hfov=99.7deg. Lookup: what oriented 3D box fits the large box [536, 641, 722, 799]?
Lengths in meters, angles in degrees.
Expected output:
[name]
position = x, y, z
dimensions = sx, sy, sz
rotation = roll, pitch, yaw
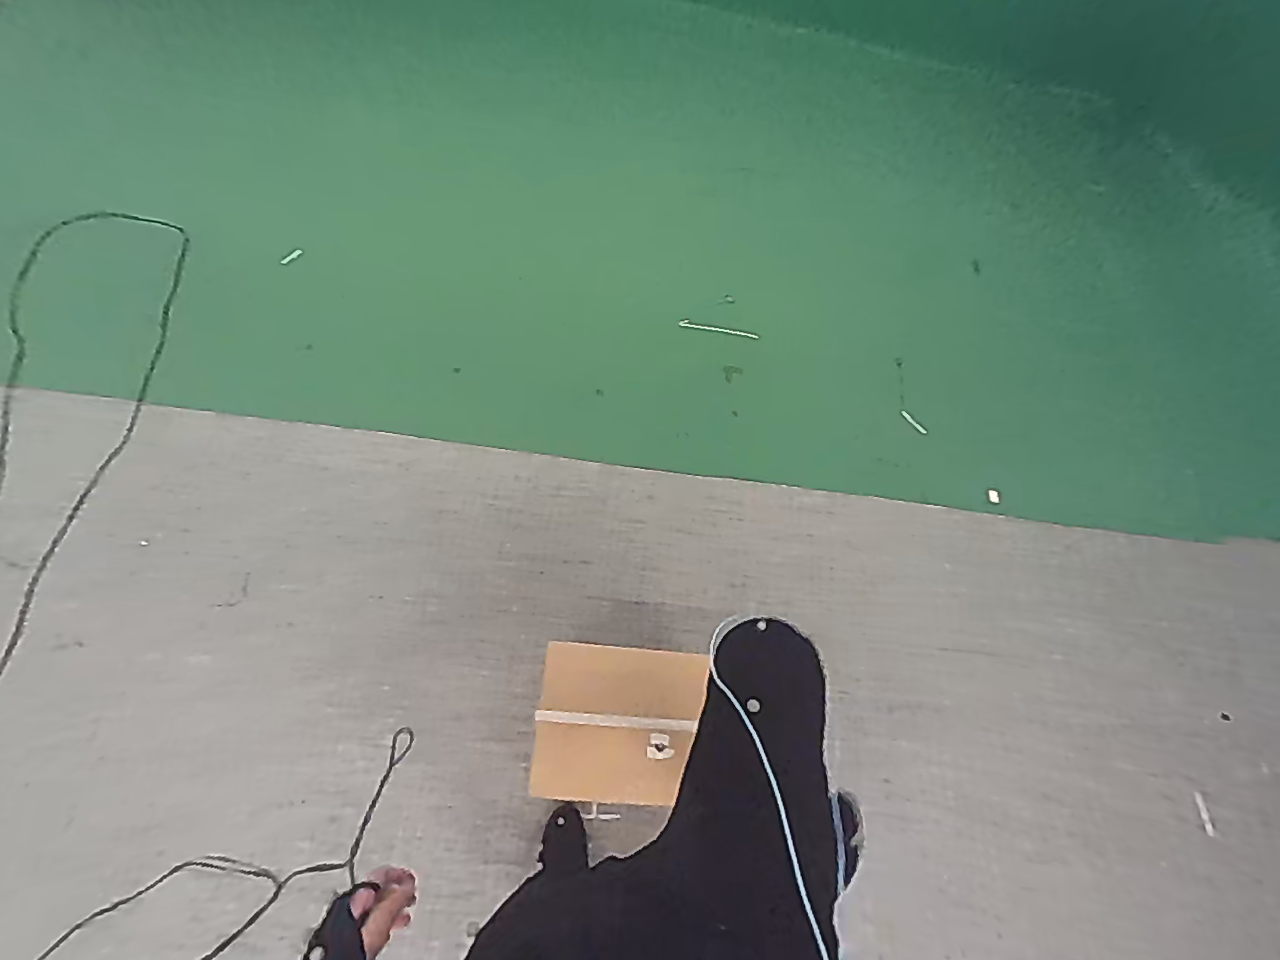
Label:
[large box]
position = -0.039, 0.594, 1.327
dimensions = 0.408, 0.320, 0.320
rotation = 6, 62, -6
